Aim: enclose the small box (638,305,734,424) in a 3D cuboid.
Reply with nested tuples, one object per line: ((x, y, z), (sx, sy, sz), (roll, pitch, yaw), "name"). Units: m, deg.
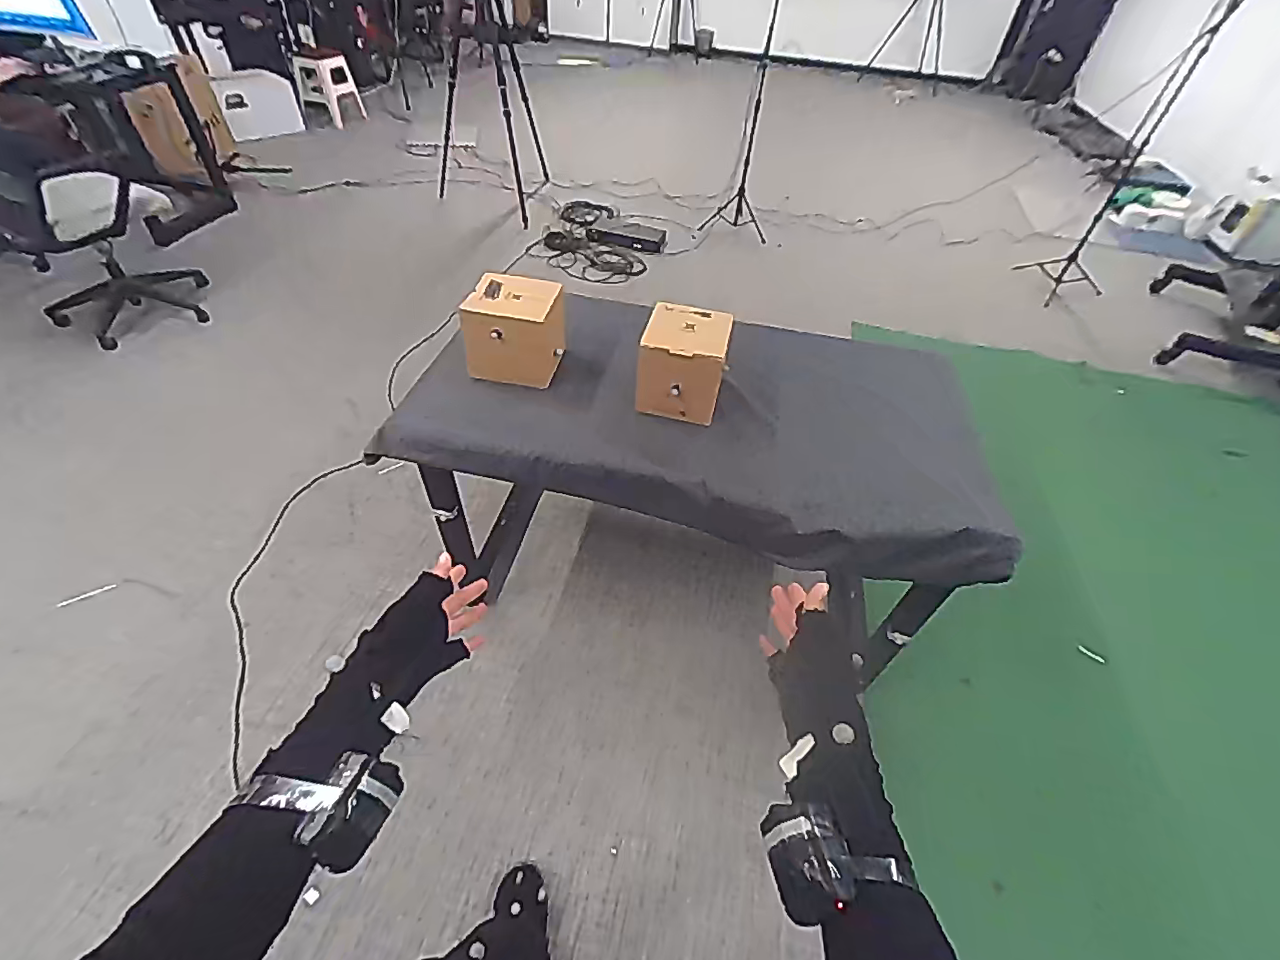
((0.094, -0.241, 1.141), (0.168, 0.176, 0.179), (12, 47, 7), "small box")

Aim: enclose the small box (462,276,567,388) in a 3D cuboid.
((-0.265, -0.321, 1.183), (0.179, 0.176, 0.168), (10, 47, 3), "small box")
